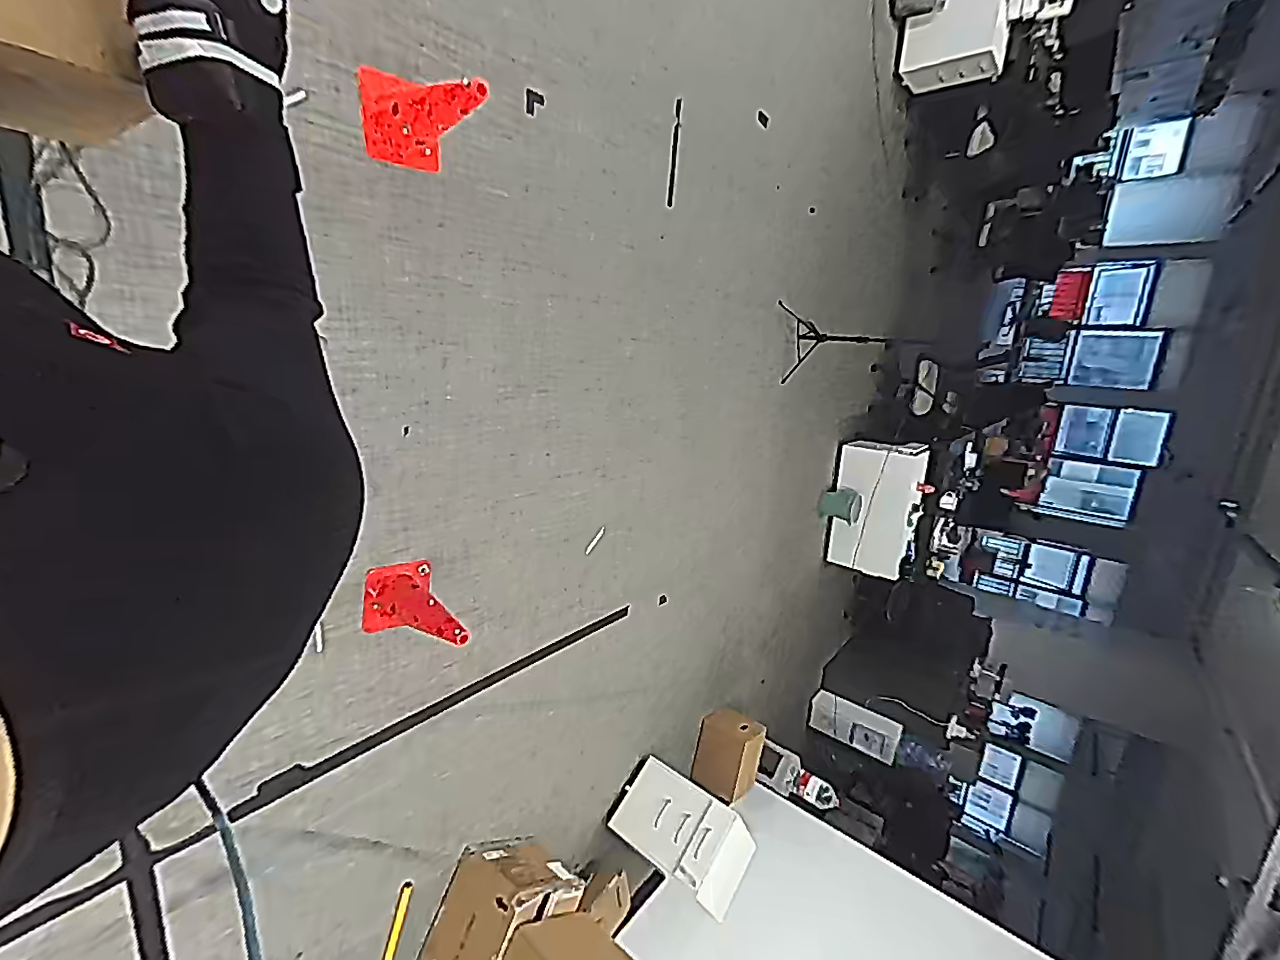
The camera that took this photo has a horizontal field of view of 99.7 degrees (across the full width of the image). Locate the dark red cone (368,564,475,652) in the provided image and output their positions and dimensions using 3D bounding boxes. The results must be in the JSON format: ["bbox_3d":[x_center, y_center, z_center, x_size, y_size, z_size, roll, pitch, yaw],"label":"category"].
[{"bbox_3d":[-0.587,0.386,1.517,0.201,0.394,0.202,-4,104,-50],"label":"dark red cone"}]

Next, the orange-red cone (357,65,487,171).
[{"bbox_3d":[-0.484,-0.888,1.277,0.198,0.360,0.199,-17,113,-49],"label":"orange-red cone"}]

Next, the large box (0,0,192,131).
[{"bbox_3d":[-0.549,-0.431,0.276,0.408,0.320,0.320,-16,117,-52],"label":"large box"}]
